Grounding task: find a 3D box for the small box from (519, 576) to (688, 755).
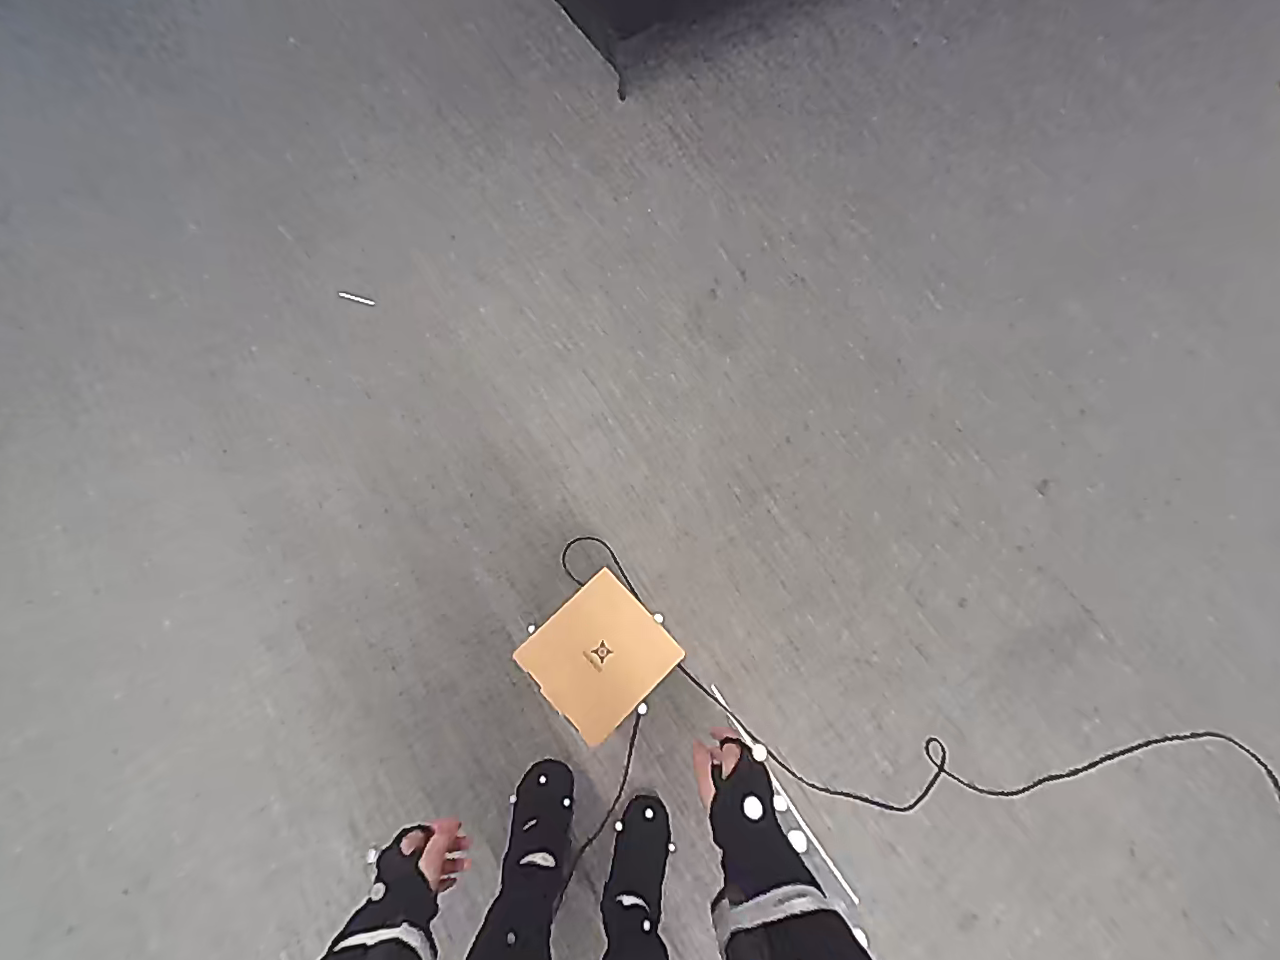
[{"bbox_3d":[-0.052,0.269,0.814,0.179,0.176,0.168,-43,78,-11],"label":"small box"}]
